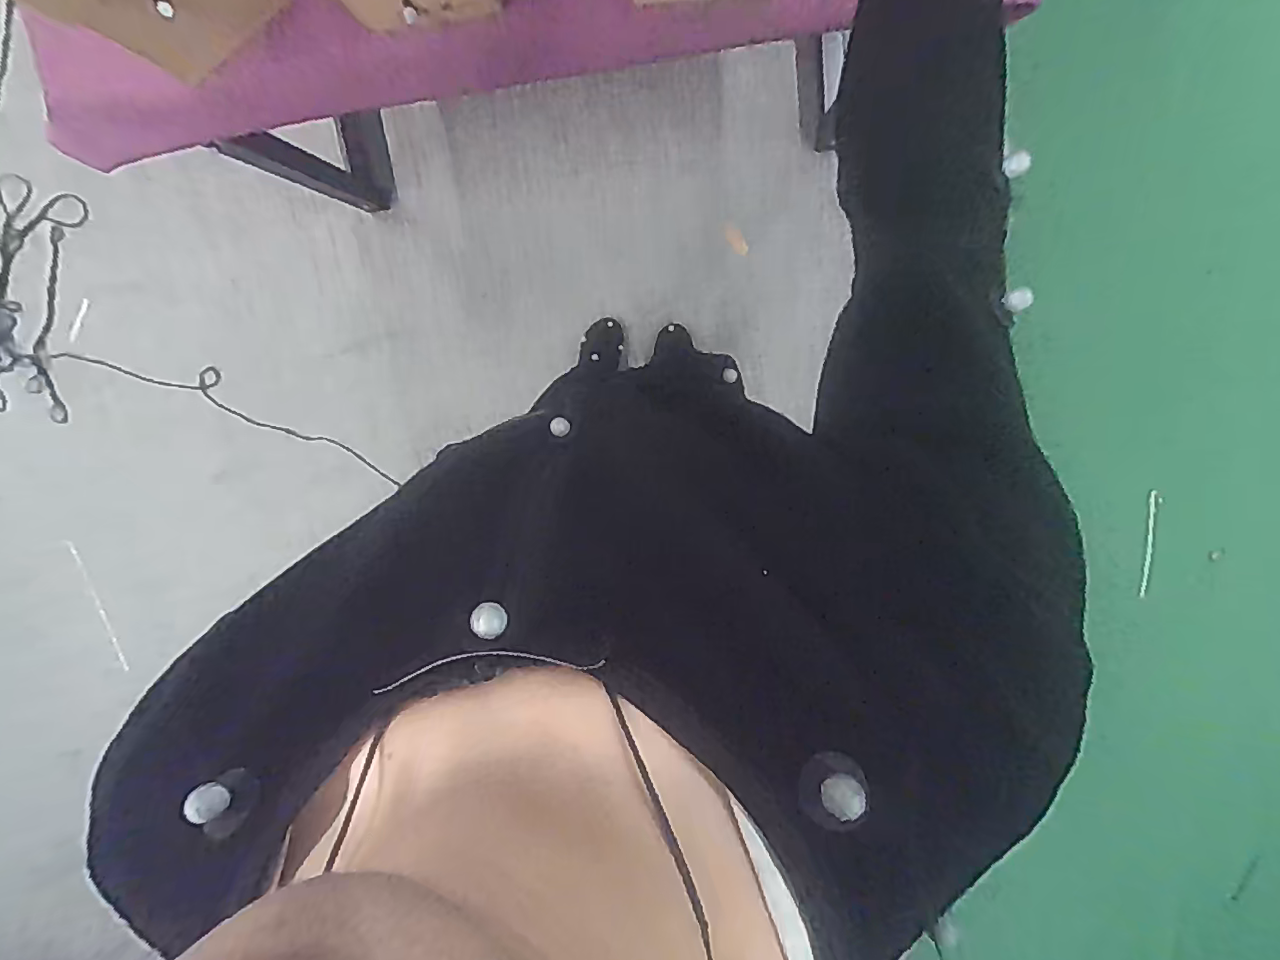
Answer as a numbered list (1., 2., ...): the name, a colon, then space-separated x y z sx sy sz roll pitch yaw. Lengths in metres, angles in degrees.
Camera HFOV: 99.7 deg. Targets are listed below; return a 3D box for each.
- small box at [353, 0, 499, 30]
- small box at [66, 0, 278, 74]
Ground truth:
1. small box: -0.256 -0.611 0.547 0.168 0.176 0.179 -4 103 6
2. small box: -0.535 -0.586 0.568 0.179 0.176 0.168 -30 100 10
